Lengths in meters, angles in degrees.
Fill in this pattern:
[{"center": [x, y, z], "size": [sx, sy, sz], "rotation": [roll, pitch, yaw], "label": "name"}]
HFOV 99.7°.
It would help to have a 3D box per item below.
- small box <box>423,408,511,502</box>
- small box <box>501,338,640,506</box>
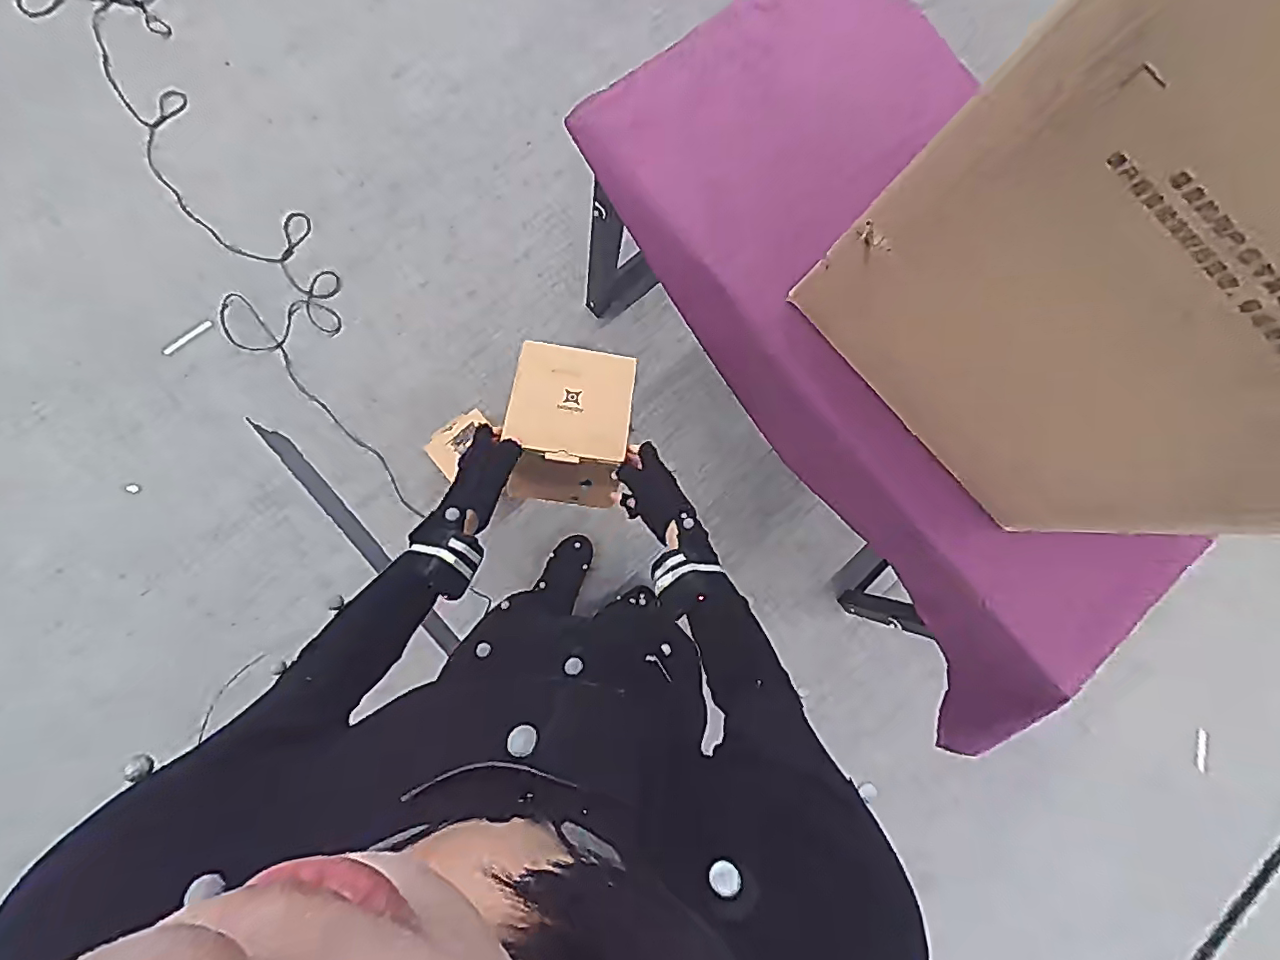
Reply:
[{"center": [-0.425, -0.055, 1.406], "size": [0.168, 0.176, 0.179], "rotation": [-39, 91, -9], "label": "small box"}, {"center": [-0.100, -0.076, 0.798], "size": [0.168, 0.176, 0.179], "rotation": [9, 64, -6], "label": "small box"}]
